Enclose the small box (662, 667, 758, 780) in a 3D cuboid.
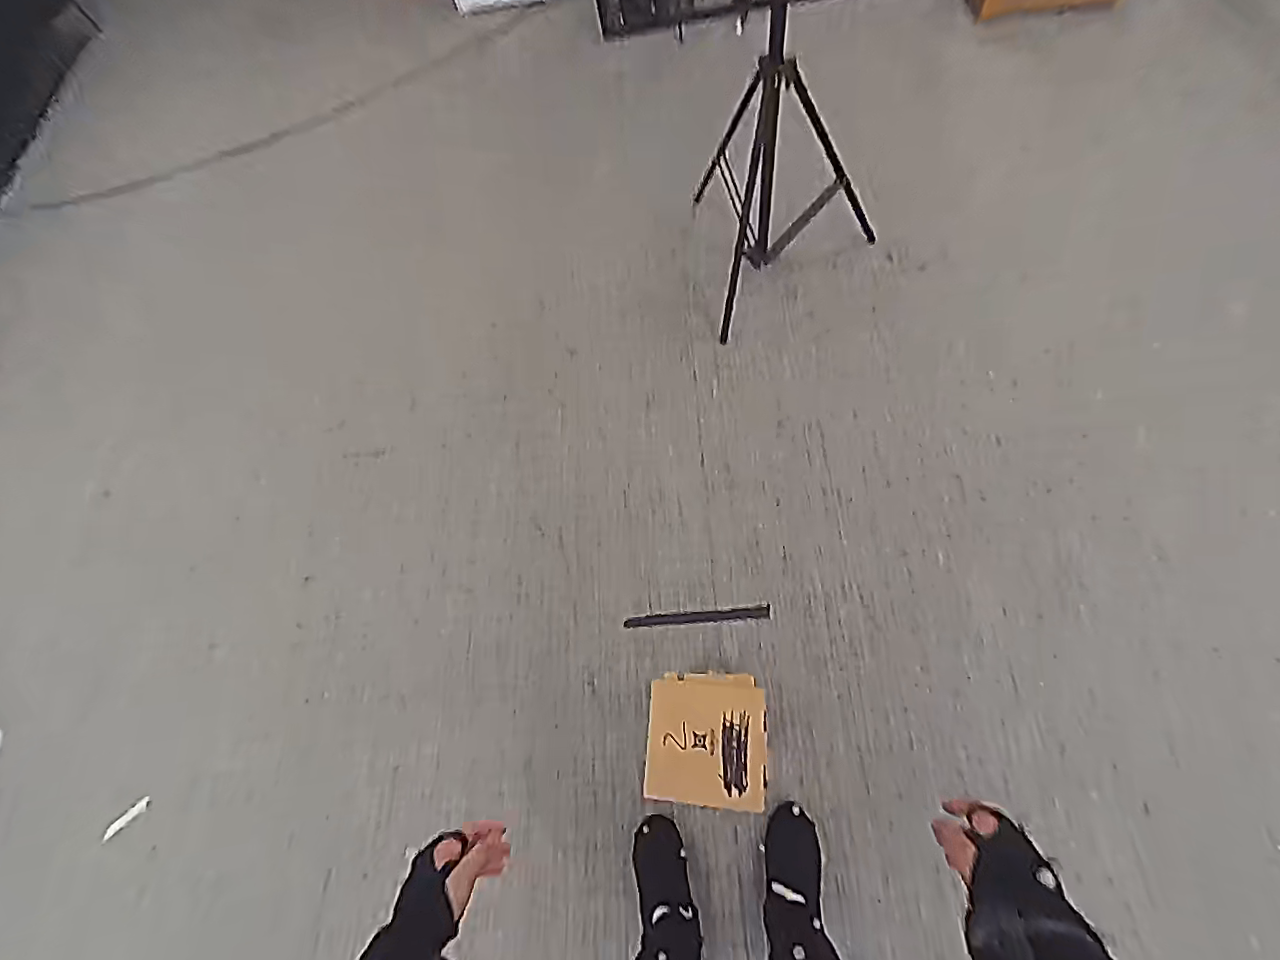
[{"bbox_3d":[0.134,0.454,1.025,0.168,0.176,0.179,-1,69,9],"label":"small box"}]
